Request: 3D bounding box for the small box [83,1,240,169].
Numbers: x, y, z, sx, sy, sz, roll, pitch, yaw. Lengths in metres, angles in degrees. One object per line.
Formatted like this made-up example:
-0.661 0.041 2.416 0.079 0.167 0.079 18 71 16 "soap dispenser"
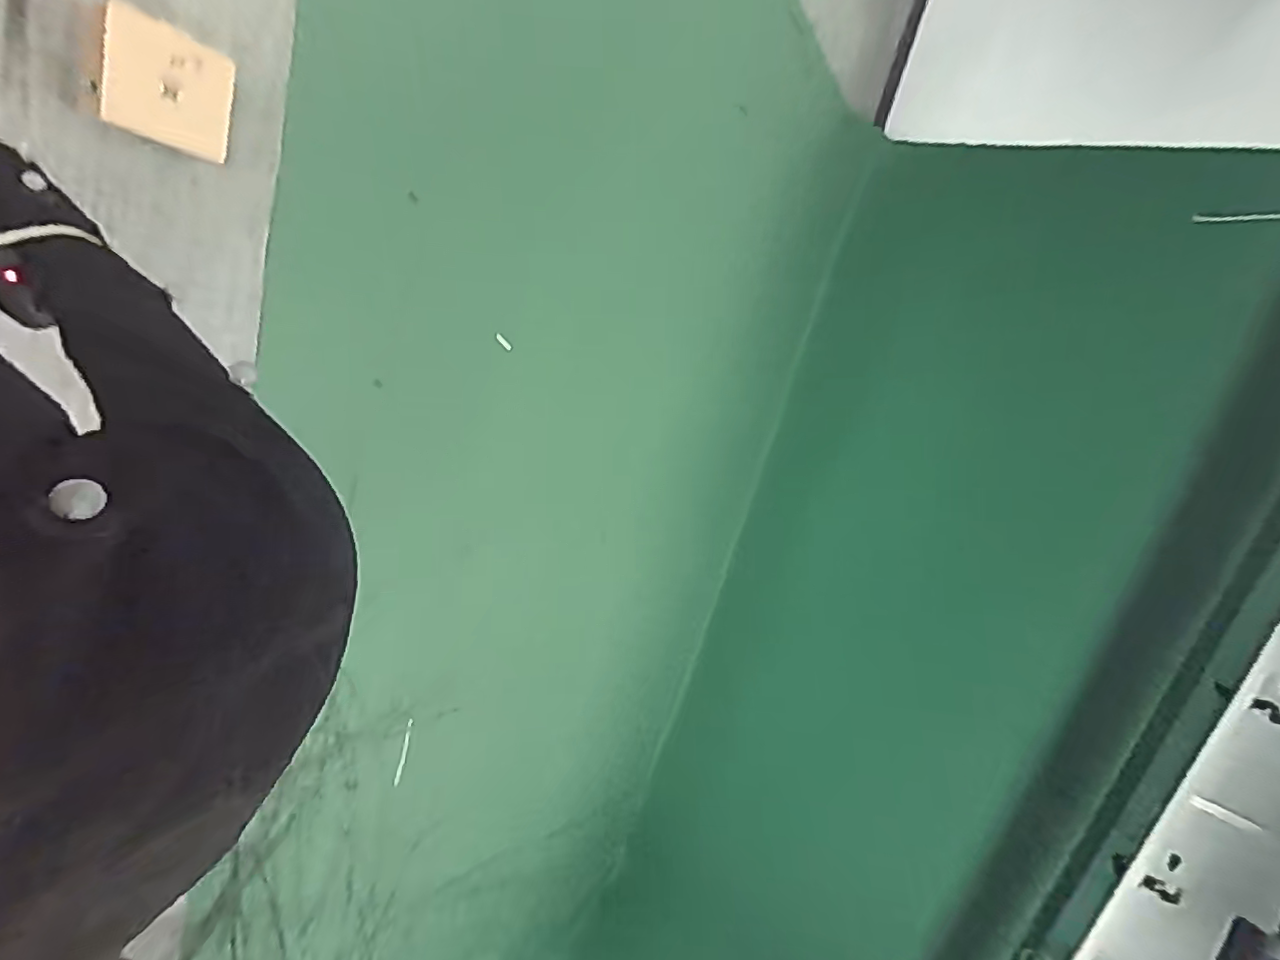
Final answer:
-0.832 -0.671 0.938 0.168 0.176 0.179 -2 112 -56 "small box"
